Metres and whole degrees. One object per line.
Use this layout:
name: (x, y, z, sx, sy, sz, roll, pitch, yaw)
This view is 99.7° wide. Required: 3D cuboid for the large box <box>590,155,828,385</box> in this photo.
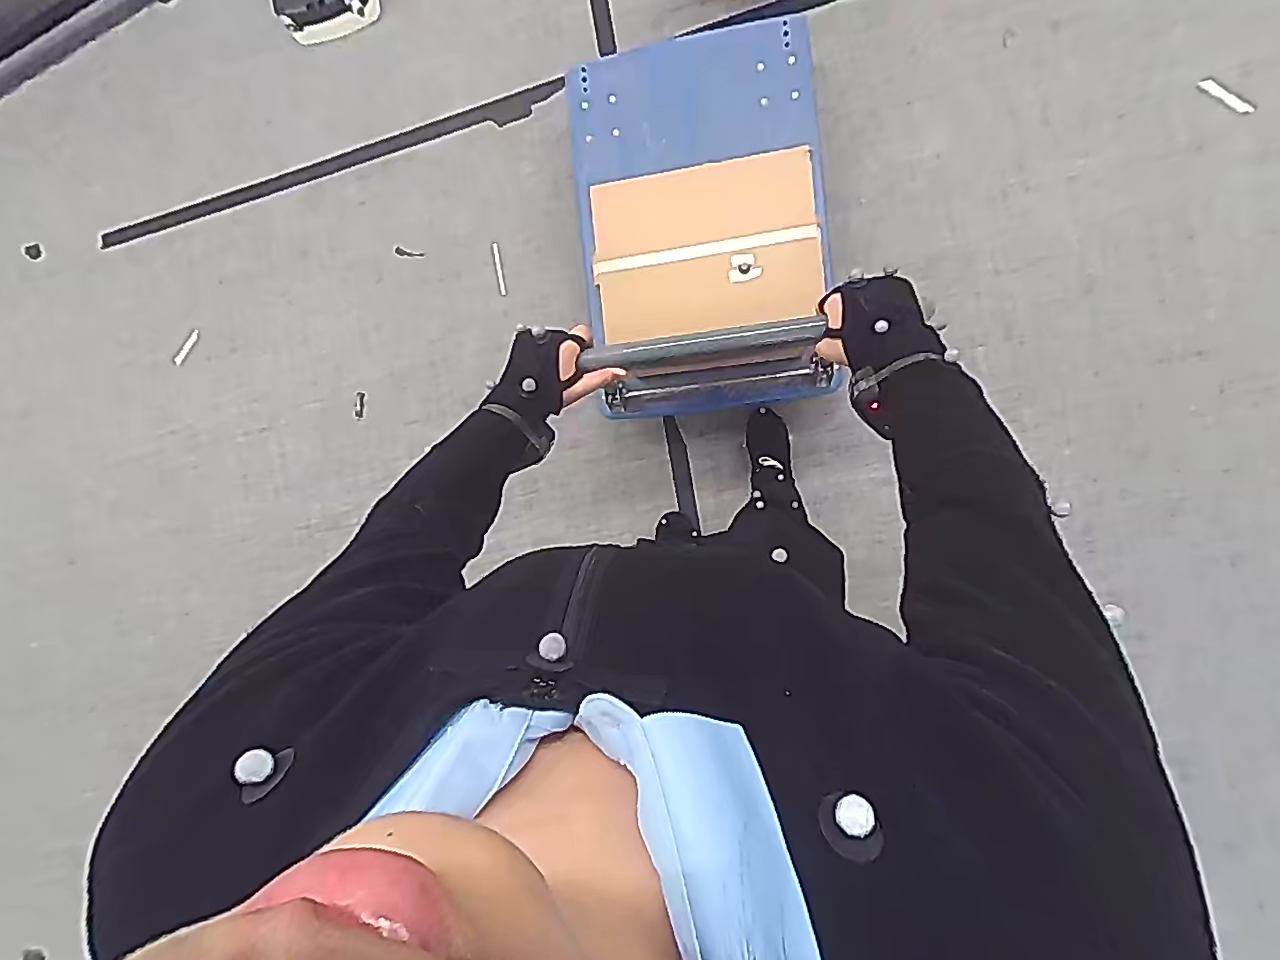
large box: (0.137, -0.398, 1.123, 0.408, 0.320, 0.320, -6, 90, 8)
